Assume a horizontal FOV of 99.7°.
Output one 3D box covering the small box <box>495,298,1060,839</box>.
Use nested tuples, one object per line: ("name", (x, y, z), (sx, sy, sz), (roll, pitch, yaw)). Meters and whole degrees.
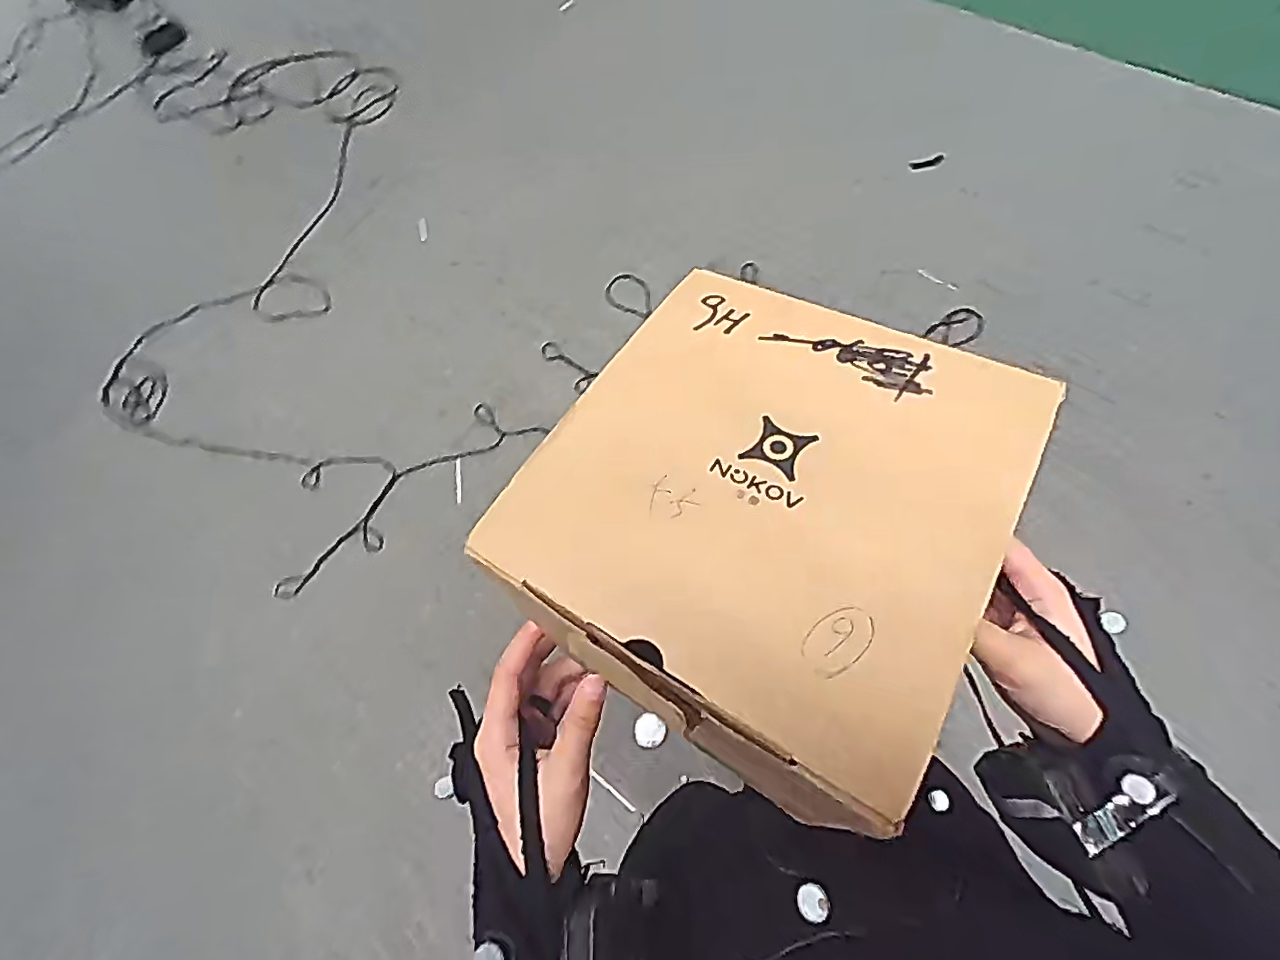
("small box", (0.064, 0.046, 0.282), (0.168, 0.176, 0.179), (27, 67, 22))
